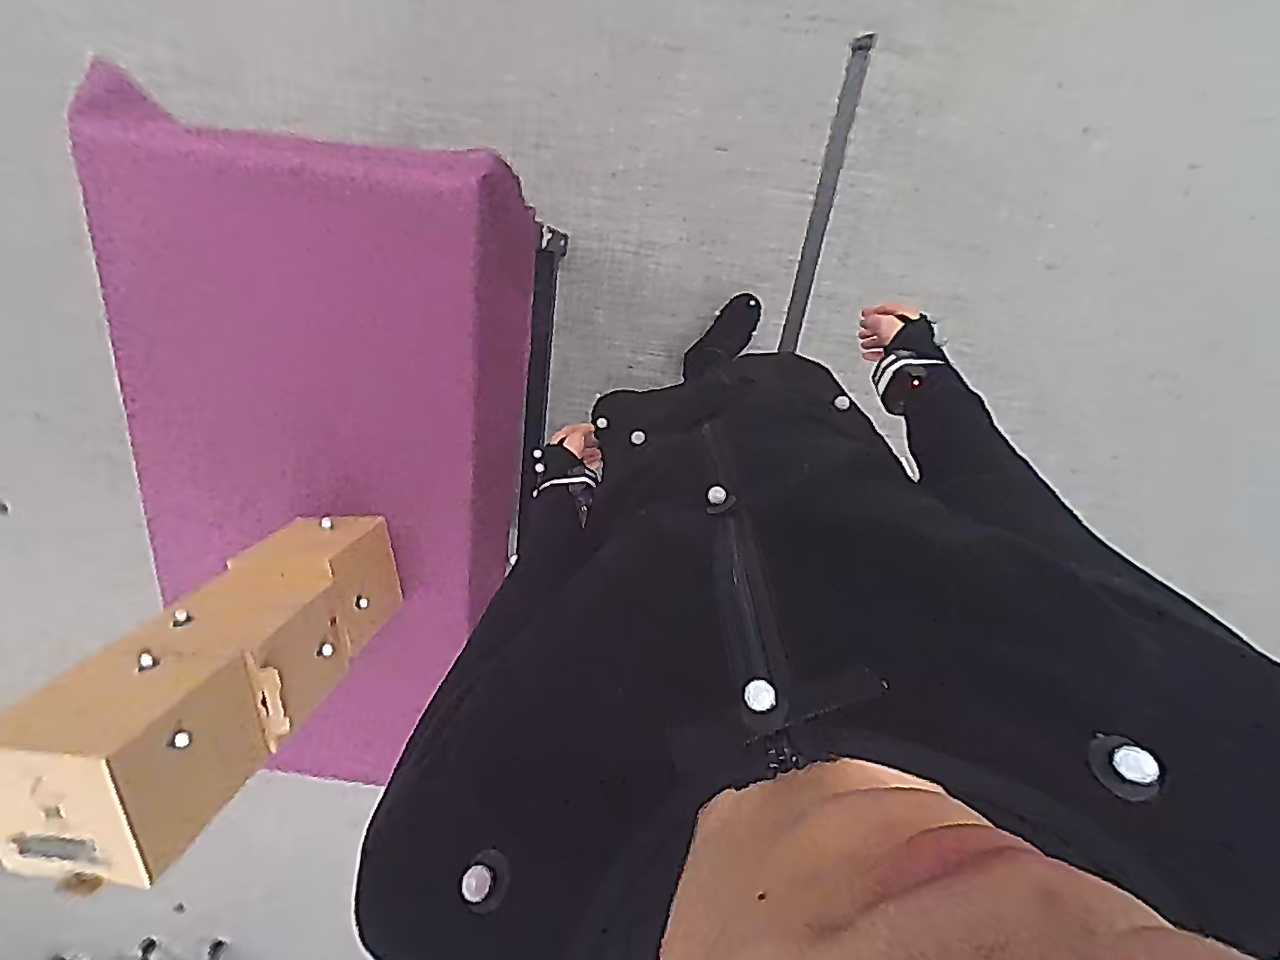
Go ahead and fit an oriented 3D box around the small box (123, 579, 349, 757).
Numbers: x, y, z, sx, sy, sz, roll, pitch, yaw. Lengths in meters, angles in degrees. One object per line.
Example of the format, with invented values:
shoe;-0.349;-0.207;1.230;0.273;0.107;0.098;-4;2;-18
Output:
small box;-0.549;0.254;0.762;0.179;0.176;0.168;3;111;3

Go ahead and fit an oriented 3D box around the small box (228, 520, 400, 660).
small box;-0.529;0.179;0.909;0.168;0.176;0.179;-2;109;5
